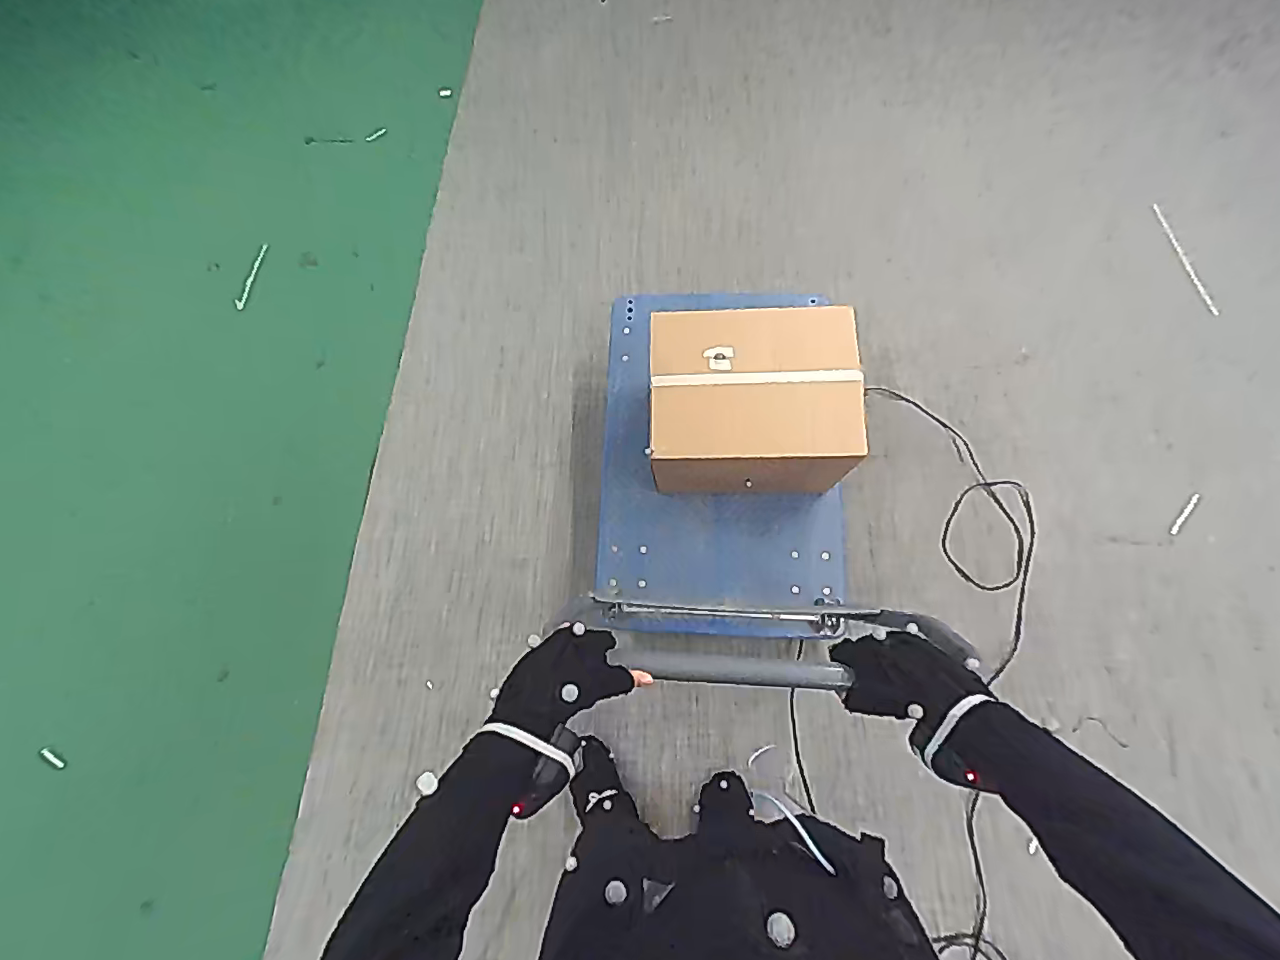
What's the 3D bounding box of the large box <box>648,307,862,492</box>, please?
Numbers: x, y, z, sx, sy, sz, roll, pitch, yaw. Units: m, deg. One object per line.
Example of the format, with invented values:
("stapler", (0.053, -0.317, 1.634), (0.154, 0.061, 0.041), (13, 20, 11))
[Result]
("large box", (0.233, -0.156, 1.209), (0.408, 0.320, 0.320), (-2, 76, 6))
